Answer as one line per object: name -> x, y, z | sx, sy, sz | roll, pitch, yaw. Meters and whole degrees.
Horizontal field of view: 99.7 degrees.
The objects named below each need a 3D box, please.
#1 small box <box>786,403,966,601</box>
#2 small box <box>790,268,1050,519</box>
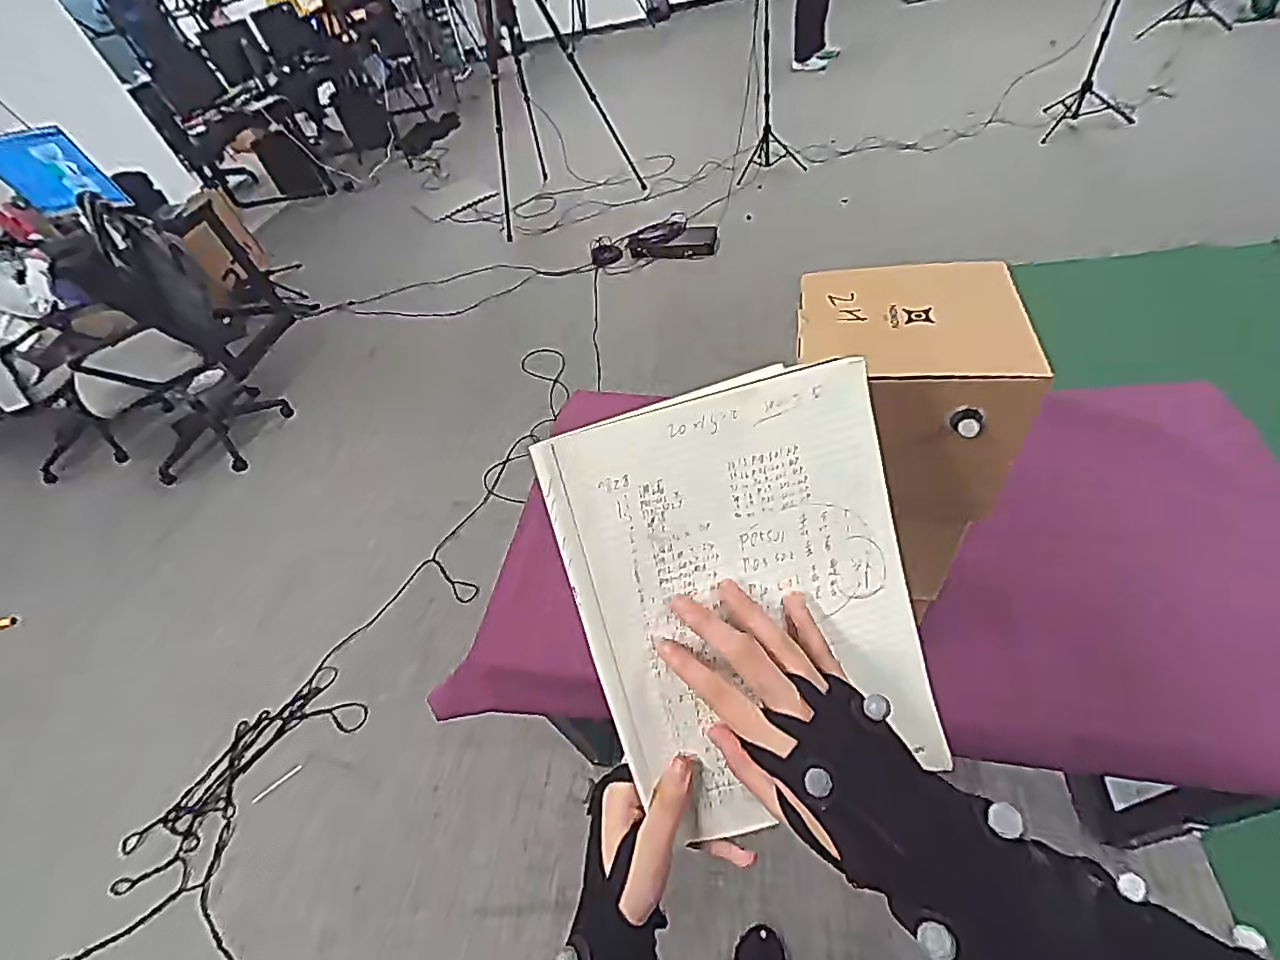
small box -> 0.261, 0.026, 0.640 | 0.168, 0.176, 0.179 | 1, 48, 15
small box -> 0.240, -0.078, 0.513 | 0.179, 0.176, 0.168 | 3, 48, 16
